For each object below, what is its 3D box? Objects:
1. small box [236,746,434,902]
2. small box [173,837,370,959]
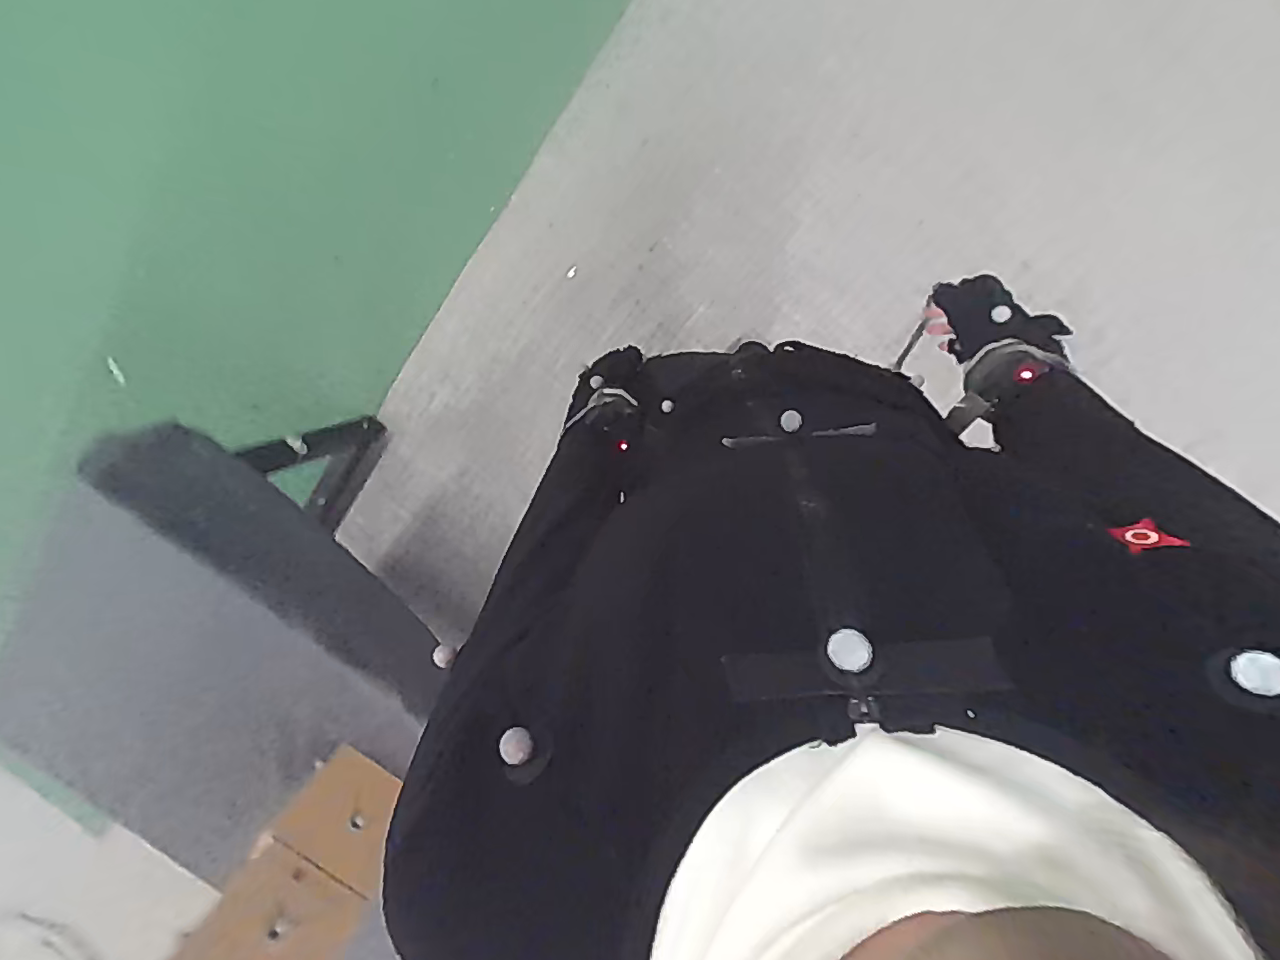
[{"bbox_3d":[-0.460,0.551,0.837,0.179,0.176,0.168,33,108,-1],"label":"small box"},{"bbox_3d":[-0.480,0.606,0.684,0.168,0.176,0.179,36,107,-3],"label":"small box"}]
